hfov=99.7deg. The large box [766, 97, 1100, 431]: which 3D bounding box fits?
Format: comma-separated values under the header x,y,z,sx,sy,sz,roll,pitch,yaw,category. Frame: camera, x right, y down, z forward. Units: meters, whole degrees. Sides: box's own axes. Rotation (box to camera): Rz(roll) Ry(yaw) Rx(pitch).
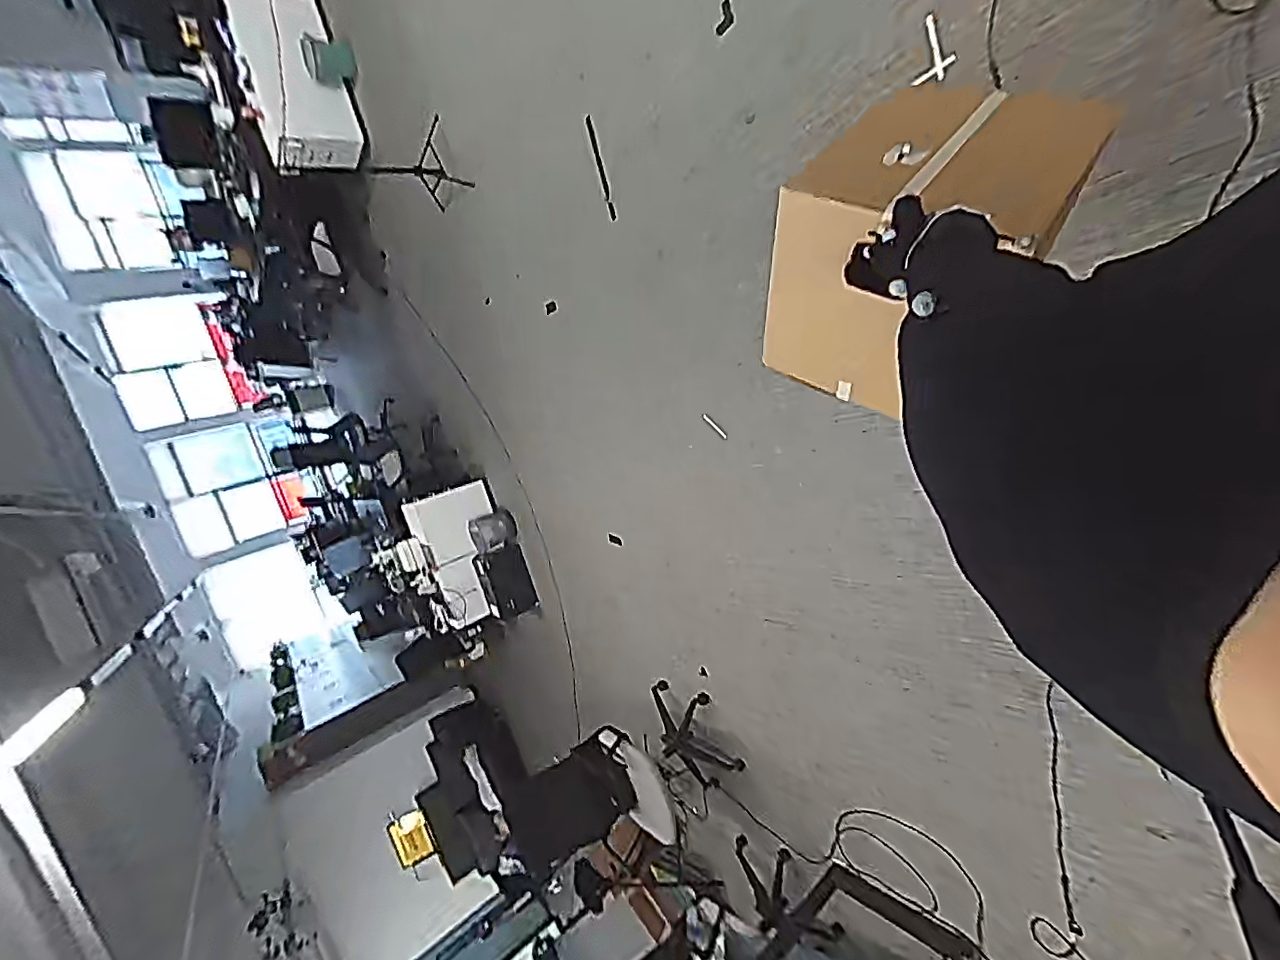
x,y,z,sx,sy,sz,roll,pitch,yaw,category
0.446,-0.359,0.881,0.320,0.408,0.320,29,152,28,large box
